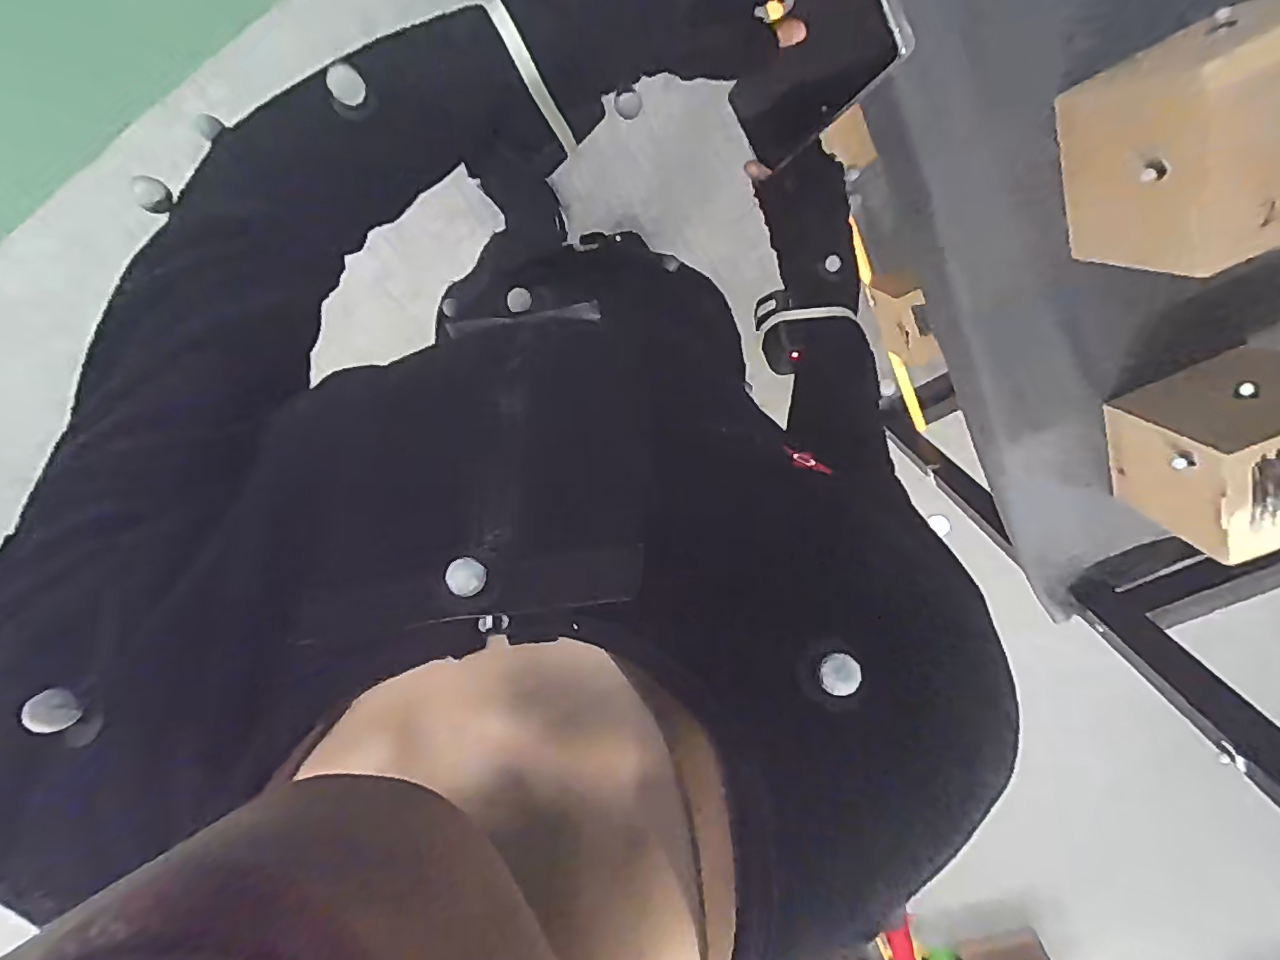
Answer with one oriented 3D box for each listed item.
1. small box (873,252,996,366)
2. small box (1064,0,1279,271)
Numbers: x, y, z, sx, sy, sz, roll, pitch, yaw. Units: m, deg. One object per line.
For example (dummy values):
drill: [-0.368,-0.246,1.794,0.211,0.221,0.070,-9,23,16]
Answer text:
small box: [0.631,-0.377,1.182,0.179,0.176,0.168,-24,116,12]
small box: [0.539,-0.321,0.504,0.168,0.176,0.179,-24,116,12]
